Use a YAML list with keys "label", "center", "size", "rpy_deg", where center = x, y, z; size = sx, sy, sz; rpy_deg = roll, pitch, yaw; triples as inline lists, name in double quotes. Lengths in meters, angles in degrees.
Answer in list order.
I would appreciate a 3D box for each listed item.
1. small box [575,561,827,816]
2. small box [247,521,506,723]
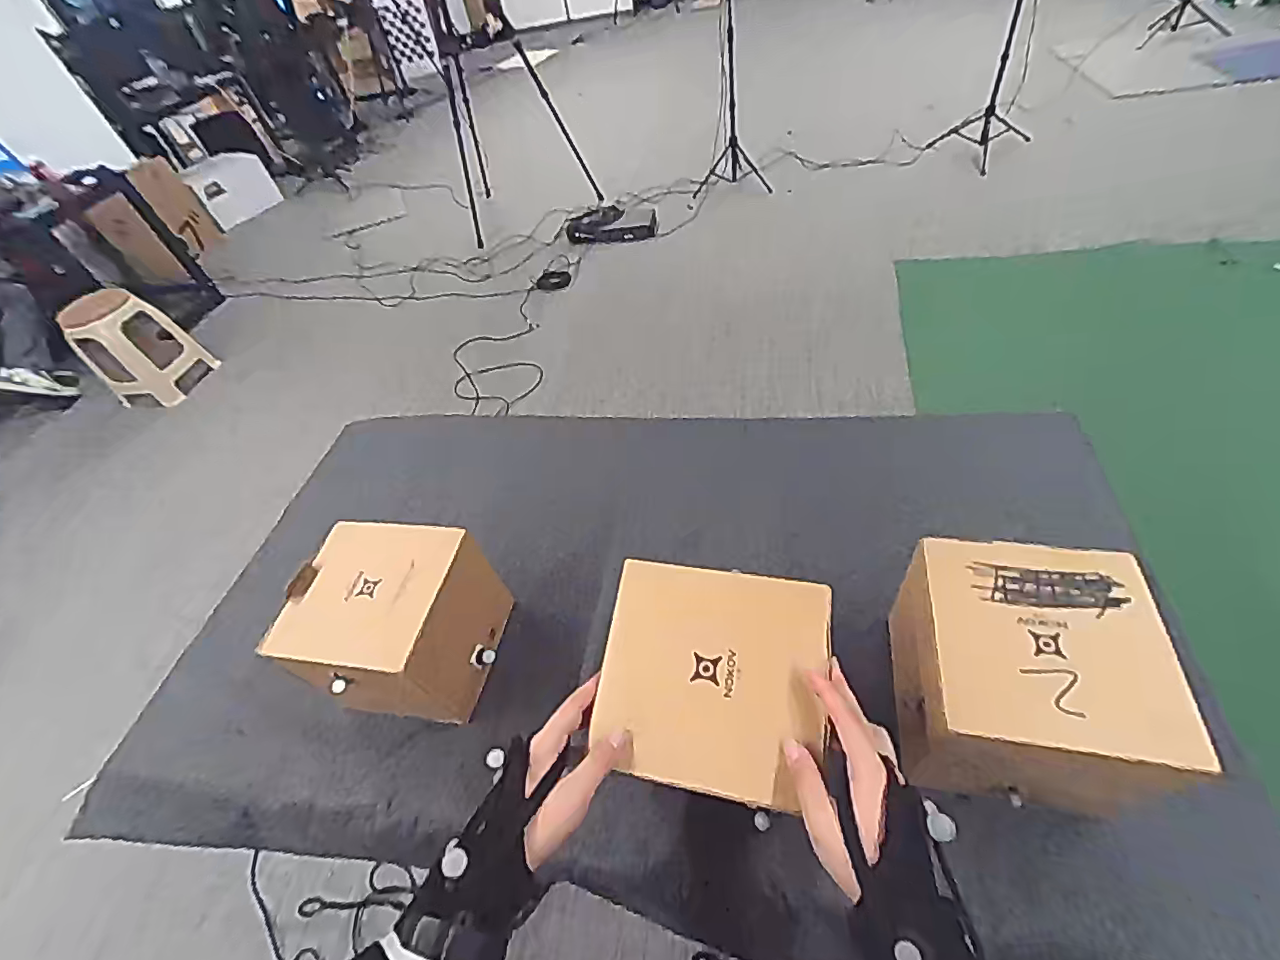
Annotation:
- label: "small box"
  center: [0.062, 0.190, 0.483]
  size: [0.179, 0.176, 0.168]
  rpy_deg: [6, 59, 12]
- label: "small box"
  center: [-0.283, 0.166, 0.626]
  size: [0.179, 0.176, 0.168]
  rpy_deg: [2, 50, 12]
